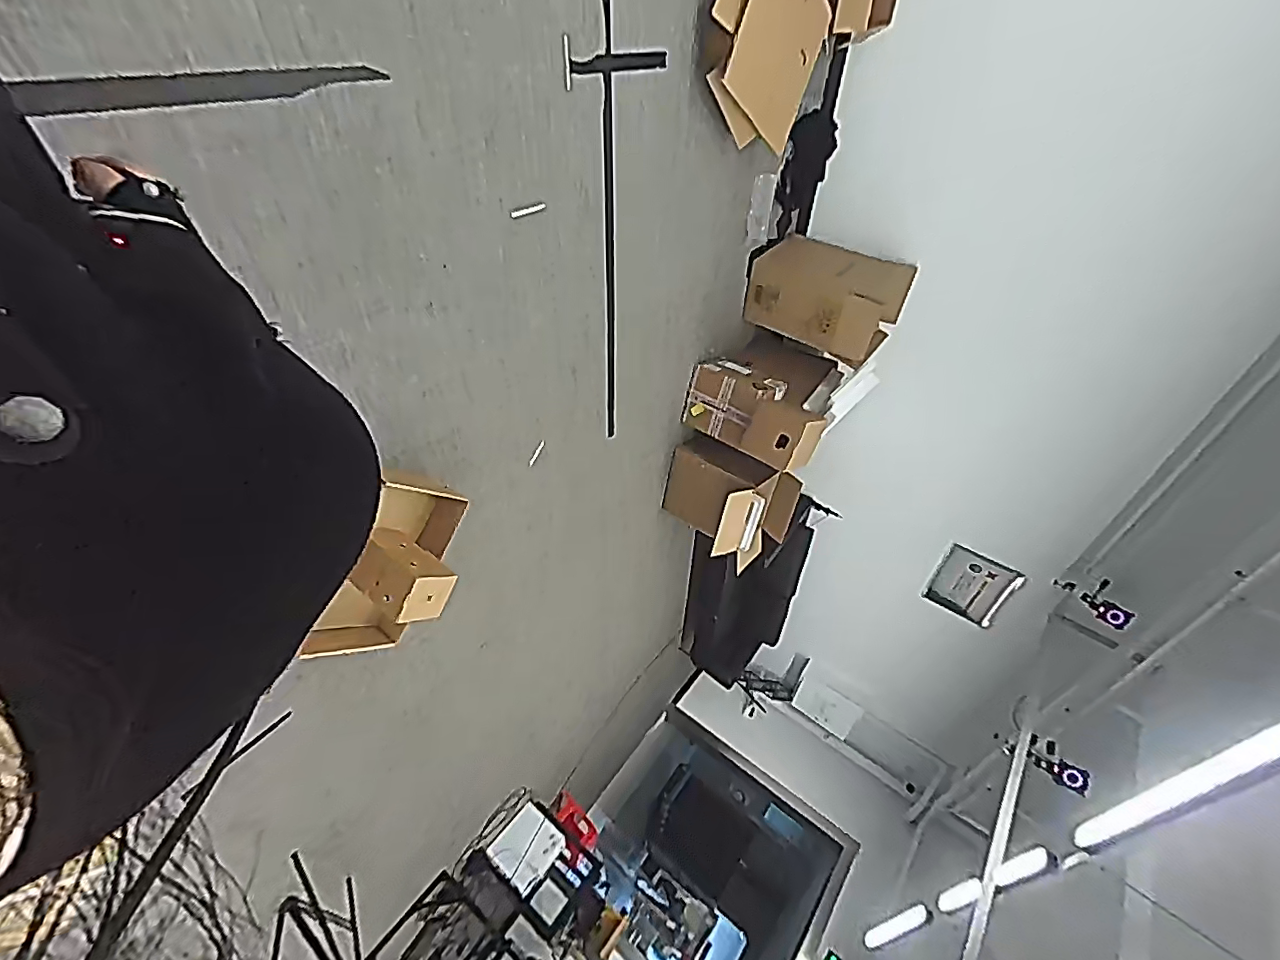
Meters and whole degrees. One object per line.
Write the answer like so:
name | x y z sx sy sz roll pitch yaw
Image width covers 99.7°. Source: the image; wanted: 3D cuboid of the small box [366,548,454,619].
small box | -0.754 0.331 1.767 0.168 0.176 0.179 -63 155 7

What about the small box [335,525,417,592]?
small box | -0.886 0.265 1.835 0.168 0.176 0.179 -62 154 3
